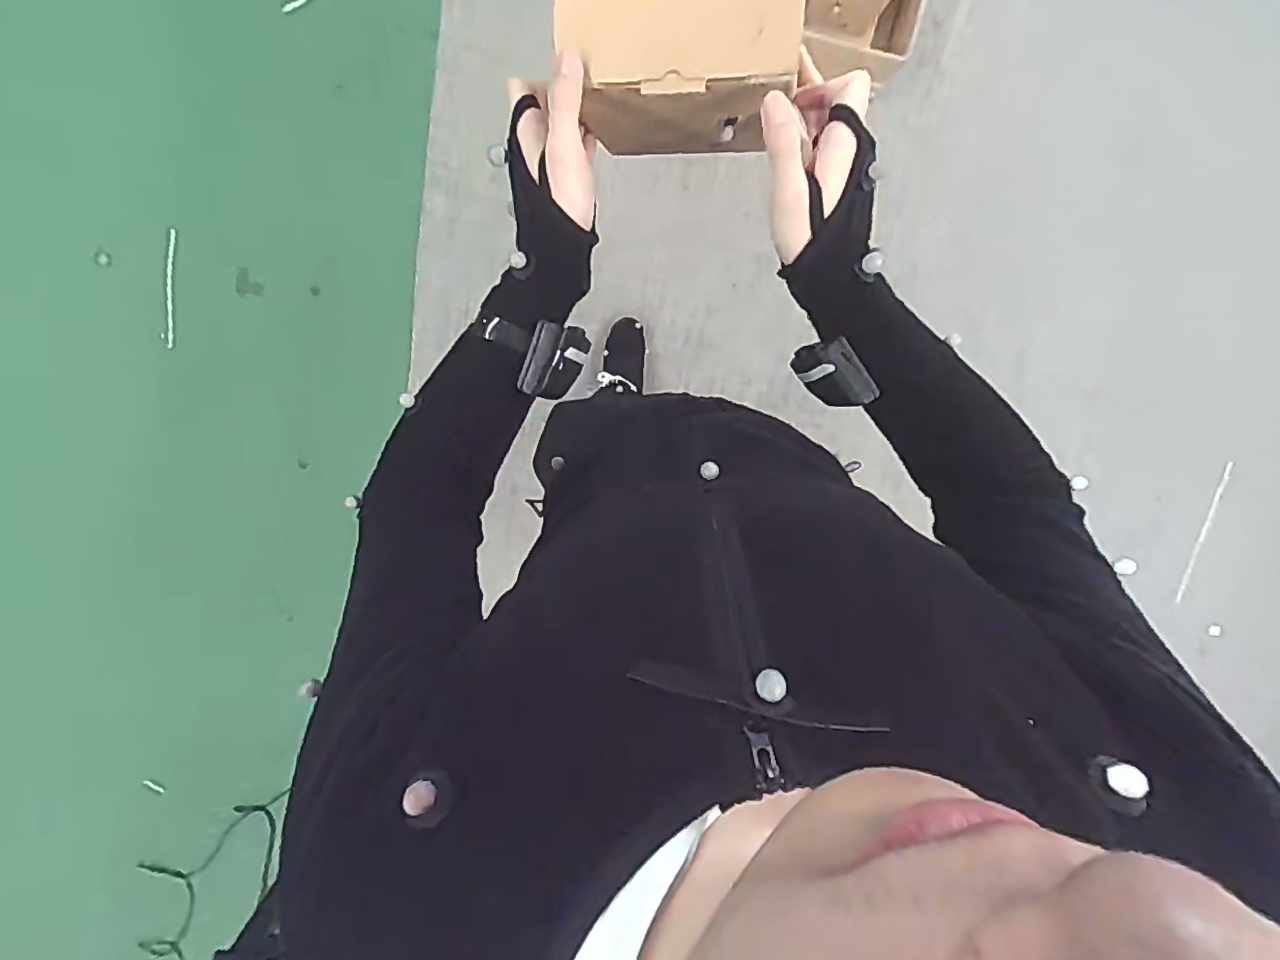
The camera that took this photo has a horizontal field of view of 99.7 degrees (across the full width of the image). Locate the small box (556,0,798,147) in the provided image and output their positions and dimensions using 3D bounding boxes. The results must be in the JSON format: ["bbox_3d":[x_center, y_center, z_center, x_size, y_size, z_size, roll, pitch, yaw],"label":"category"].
[{"bbox_3d":[0.039,-0.379,0.423,0.168,0.176,0.179,5,106,9],"label":"small box"}]

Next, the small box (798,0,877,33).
[{"bbox_3d":[0.486,-1.205,1.270,0.168,0.176,0.179,10,102,-4],"label":"small box"}]
